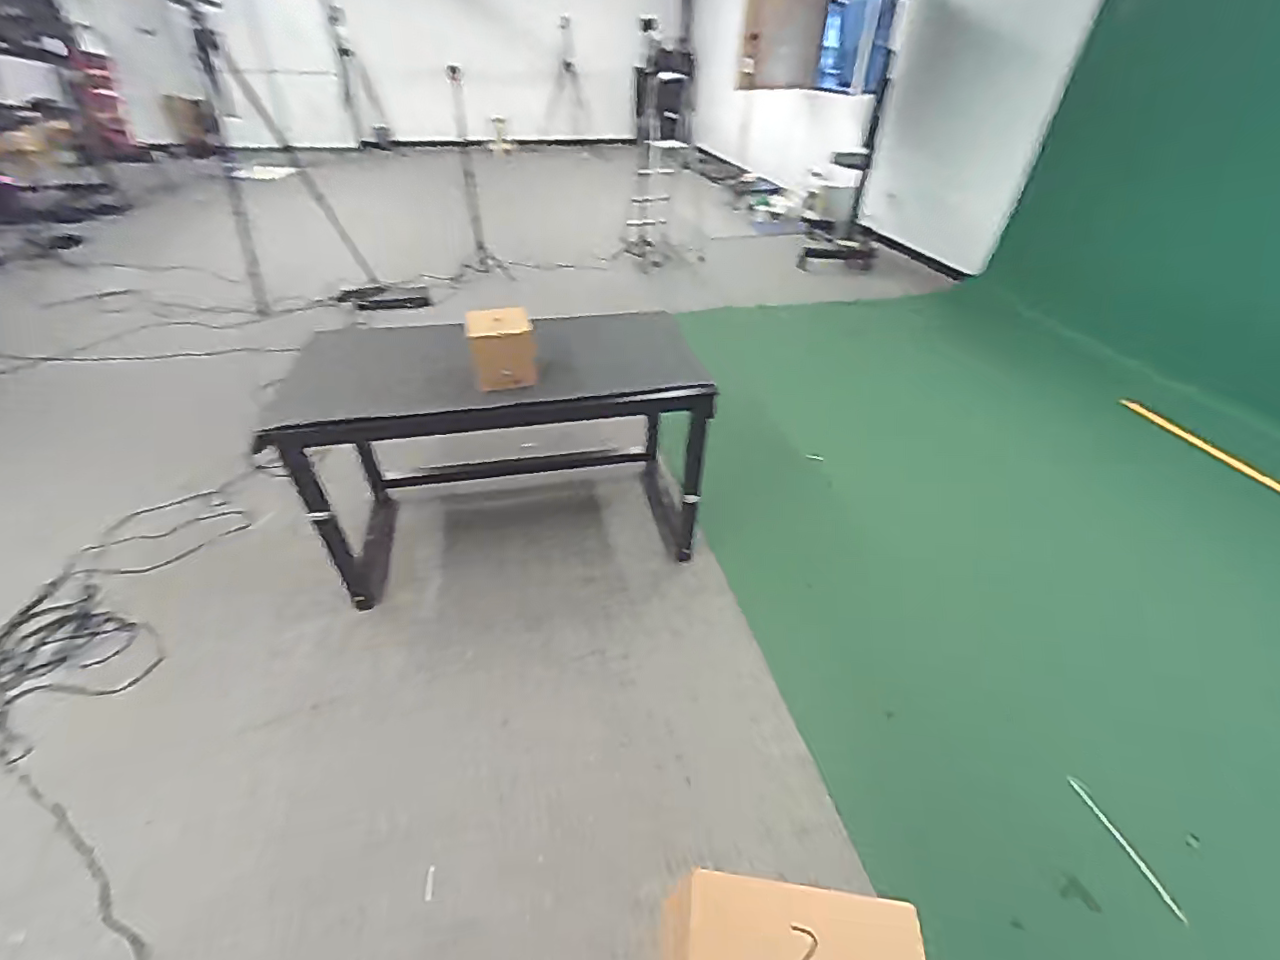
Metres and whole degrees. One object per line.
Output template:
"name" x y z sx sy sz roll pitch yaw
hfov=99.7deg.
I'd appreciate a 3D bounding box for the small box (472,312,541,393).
"small box" -0.382 -0.367 1.549 0.168 0.176 0.179 -10 39 -13
